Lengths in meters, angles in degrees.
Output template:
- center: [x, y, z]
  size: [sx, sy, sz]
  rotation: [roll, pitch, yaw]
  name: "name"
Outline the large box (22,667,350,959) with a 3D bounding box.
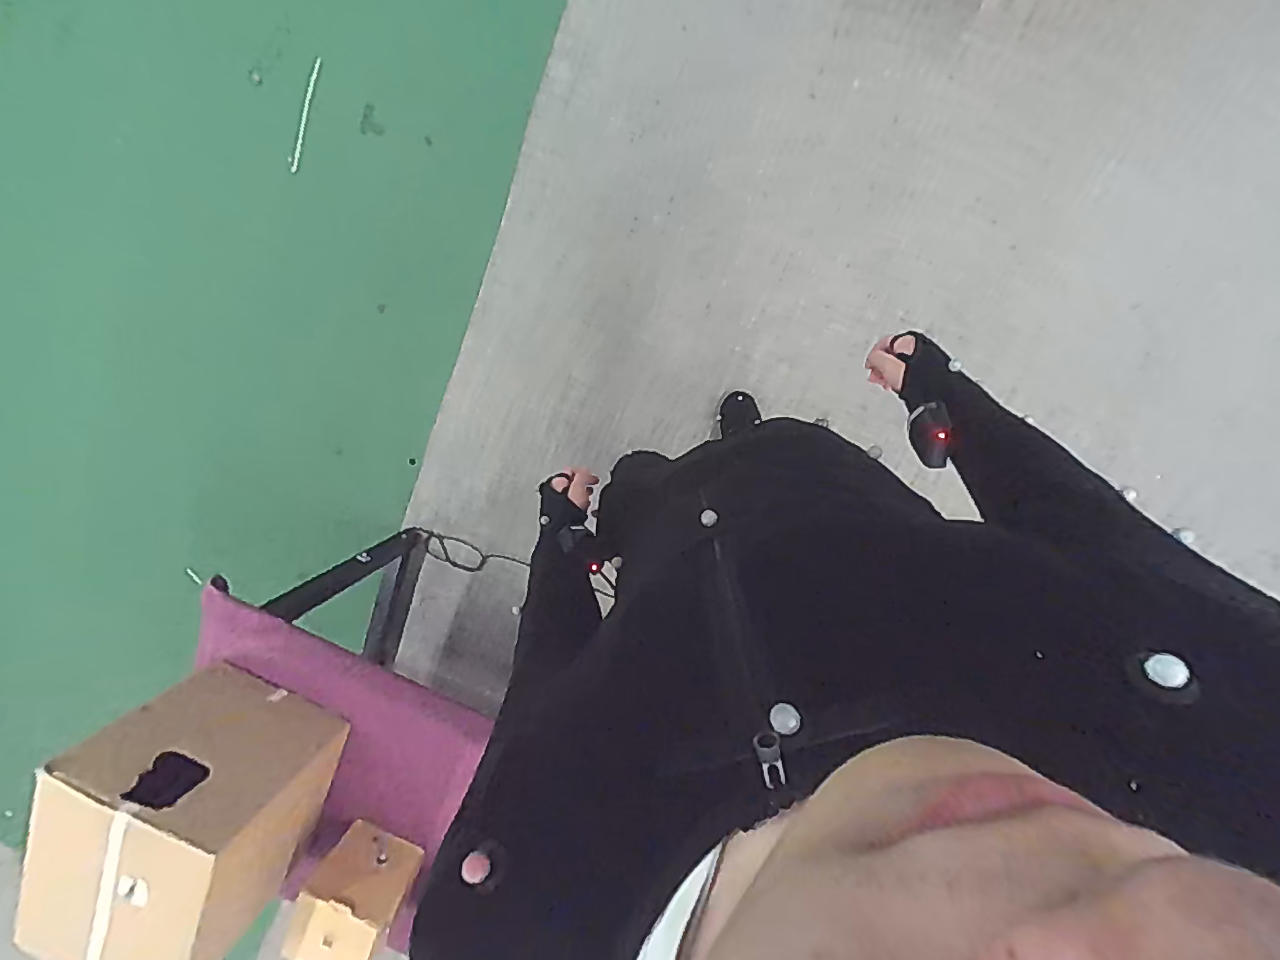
- center: [-0.808, 0.642, 0.999]
  size: [0.320, 0.320, 0.408]
  rotation: [23, 104, 1]
  name: "large box"
